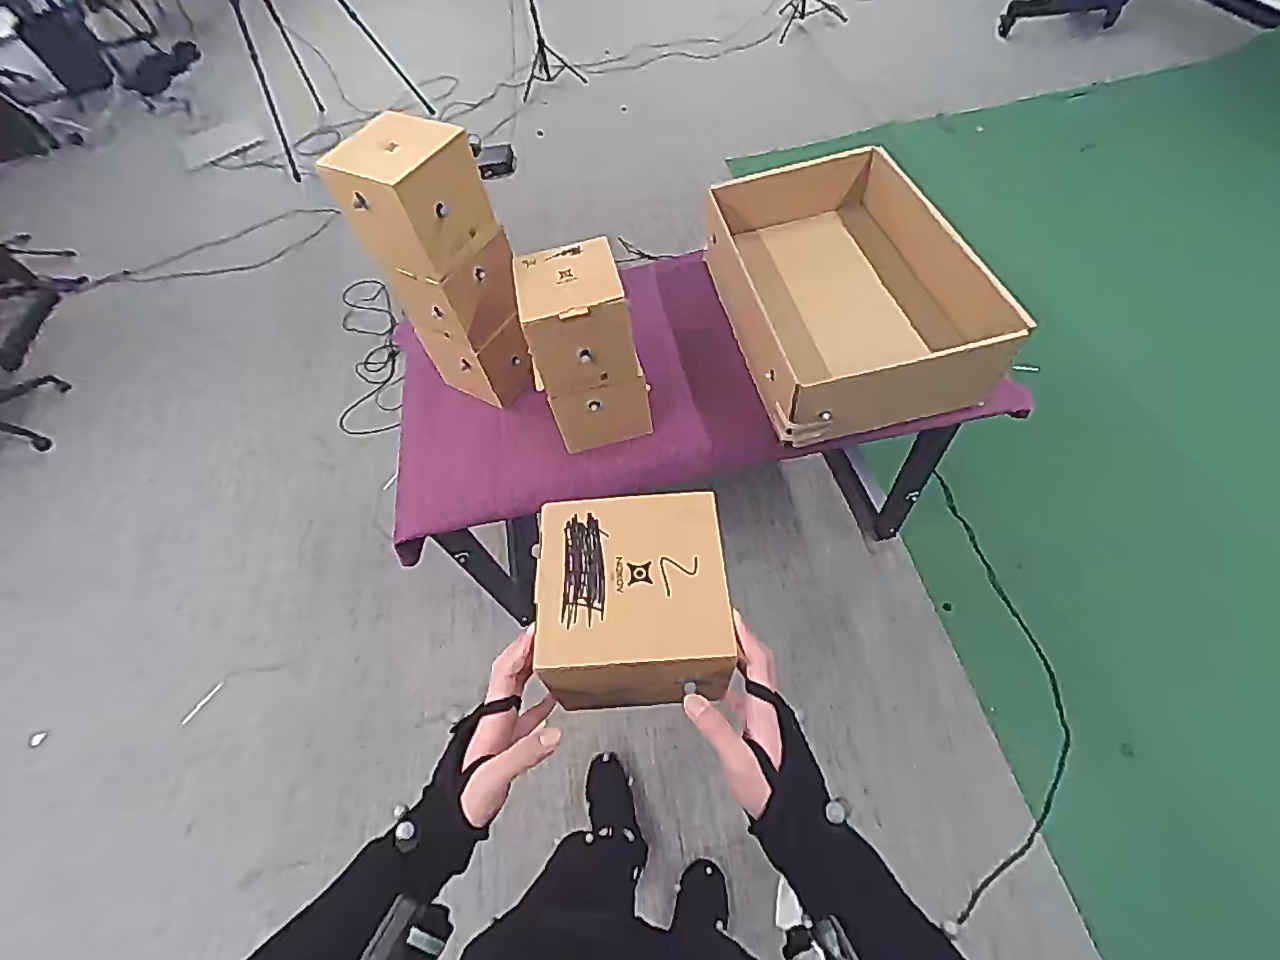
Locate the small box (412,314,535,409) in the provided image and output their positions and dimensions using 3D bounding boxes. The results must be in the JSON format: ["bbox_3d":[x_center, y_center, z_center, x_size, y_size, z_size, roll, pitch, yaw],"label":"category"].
[{"bbox_3d":[-0.340,-0.278,1.162,0.179,0.176,0.168,25,63,21],"label":"small box"}]

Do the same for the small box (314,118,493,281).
[{"bbox_3d":[-0.375,-0.457,0.893,0.179,0.176,0.168,23,64,20],"label":"small box"}]

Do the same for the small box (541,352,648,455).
[{"bbox_3d":[-0.091,-0.171,1.058,0.179,0.176,0.168,-15,56,-2],"label":"small box"}]

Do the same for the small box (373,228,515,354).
[{"bbox_3d":[-0.353,-0.370,1.028,0.168,0.176,0.179,25,64,20],"label":"small box"}]

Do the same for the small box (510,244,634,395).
[{"bbox_3d":[-0.112,-0.265,0.926,0.168,0.176,0.179,-13,56,-2],"label":"small box"}]
